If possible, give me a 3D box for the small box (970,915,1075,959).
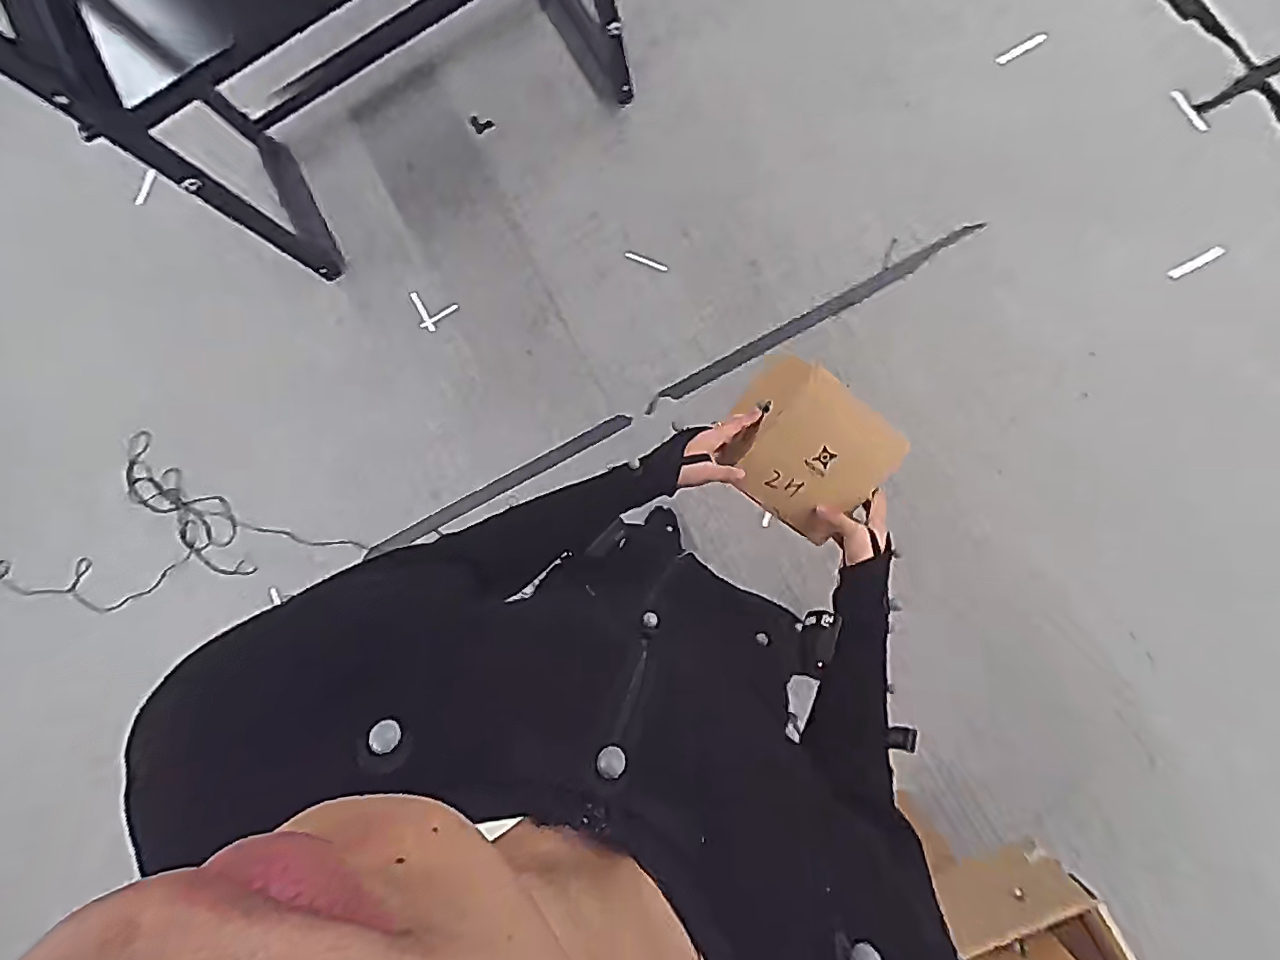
[{"bbox_3d":[0.758,0.967,0.988,0.168,0.176,0.179,-36,82,2],"label":"small box"}]
